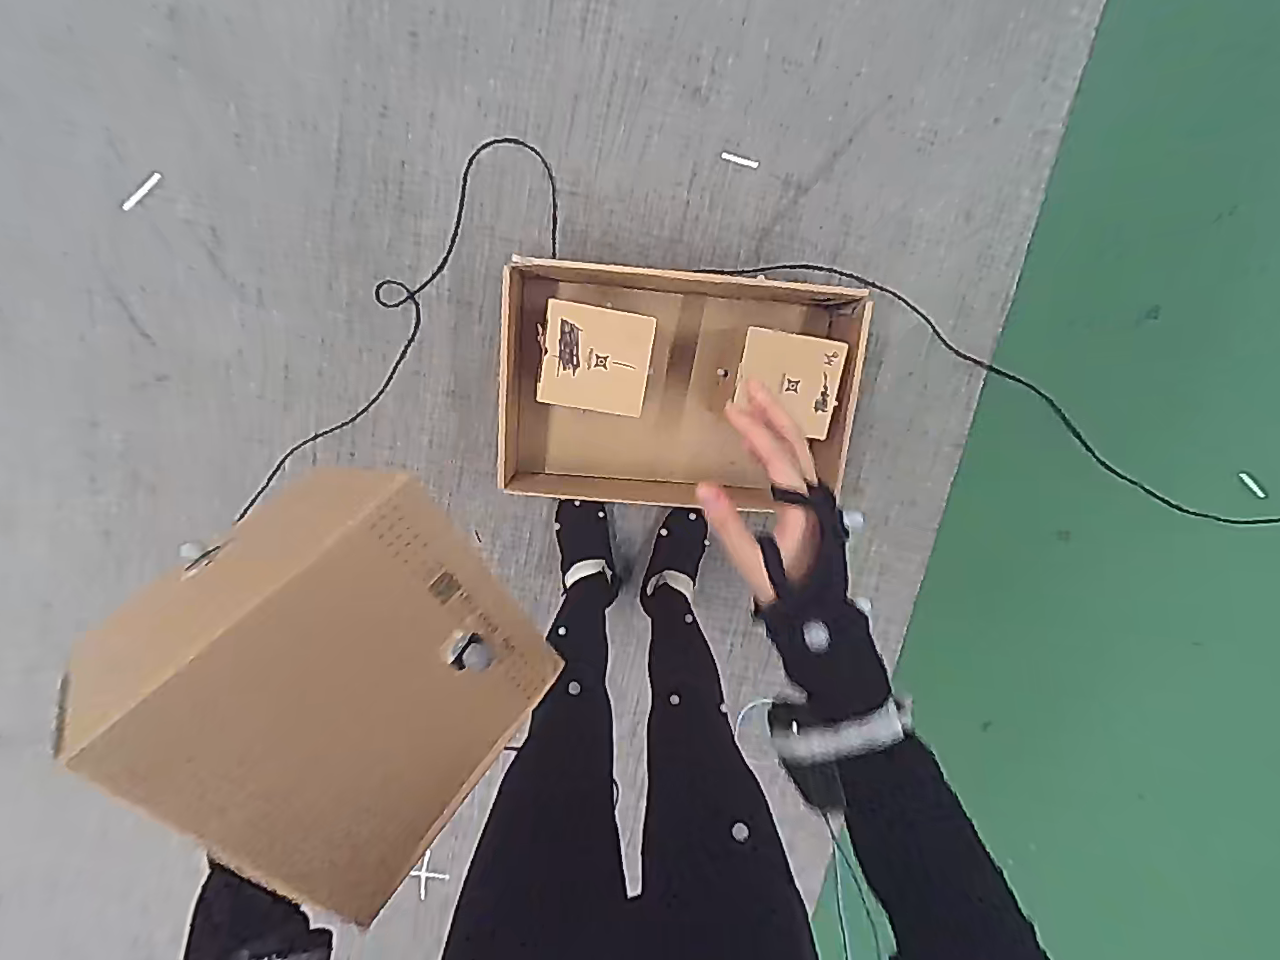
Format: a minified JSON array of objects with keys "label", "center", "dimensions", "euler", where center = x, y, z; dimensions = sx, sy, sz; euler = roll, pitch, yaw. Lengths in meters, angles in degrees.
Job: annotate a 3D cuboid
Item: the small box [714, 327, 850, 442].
[{"label":"small box","center":[0.243,-0.173,0.978],"dimensions":[0.179,0.176,0.168],"euler":[10,102,-5]}]
